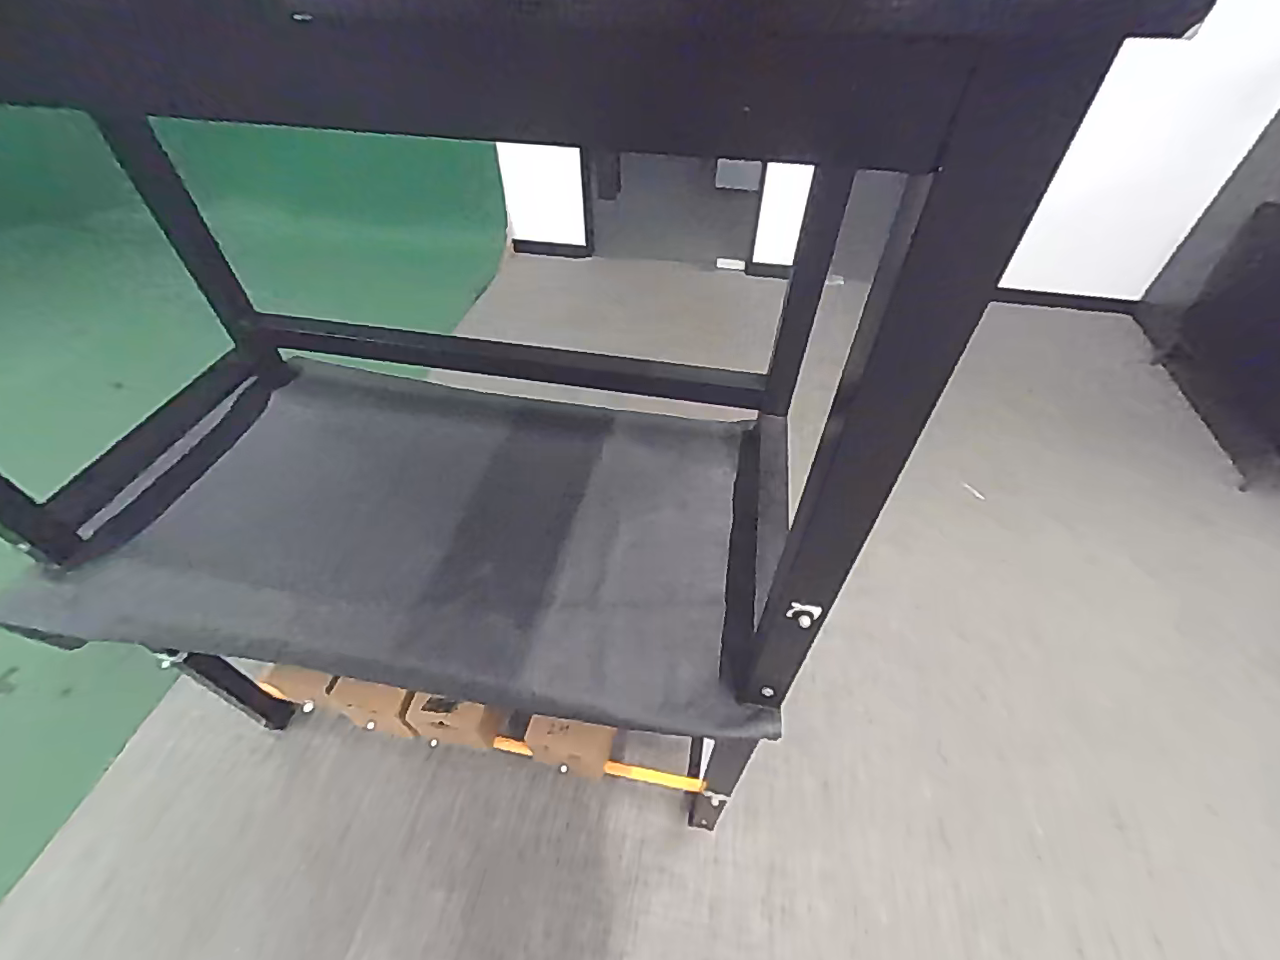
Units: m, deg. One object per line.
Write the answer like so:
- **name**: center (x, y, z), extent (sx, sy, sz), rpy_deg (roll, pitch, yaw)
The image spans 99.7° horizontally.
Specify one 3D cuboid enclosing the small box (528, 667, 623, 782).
- **small box**: center (-0.141, 0.569, 1.255), extent (0.168, 0.176, 0.179), rpy_deg (12, 50, 11)
